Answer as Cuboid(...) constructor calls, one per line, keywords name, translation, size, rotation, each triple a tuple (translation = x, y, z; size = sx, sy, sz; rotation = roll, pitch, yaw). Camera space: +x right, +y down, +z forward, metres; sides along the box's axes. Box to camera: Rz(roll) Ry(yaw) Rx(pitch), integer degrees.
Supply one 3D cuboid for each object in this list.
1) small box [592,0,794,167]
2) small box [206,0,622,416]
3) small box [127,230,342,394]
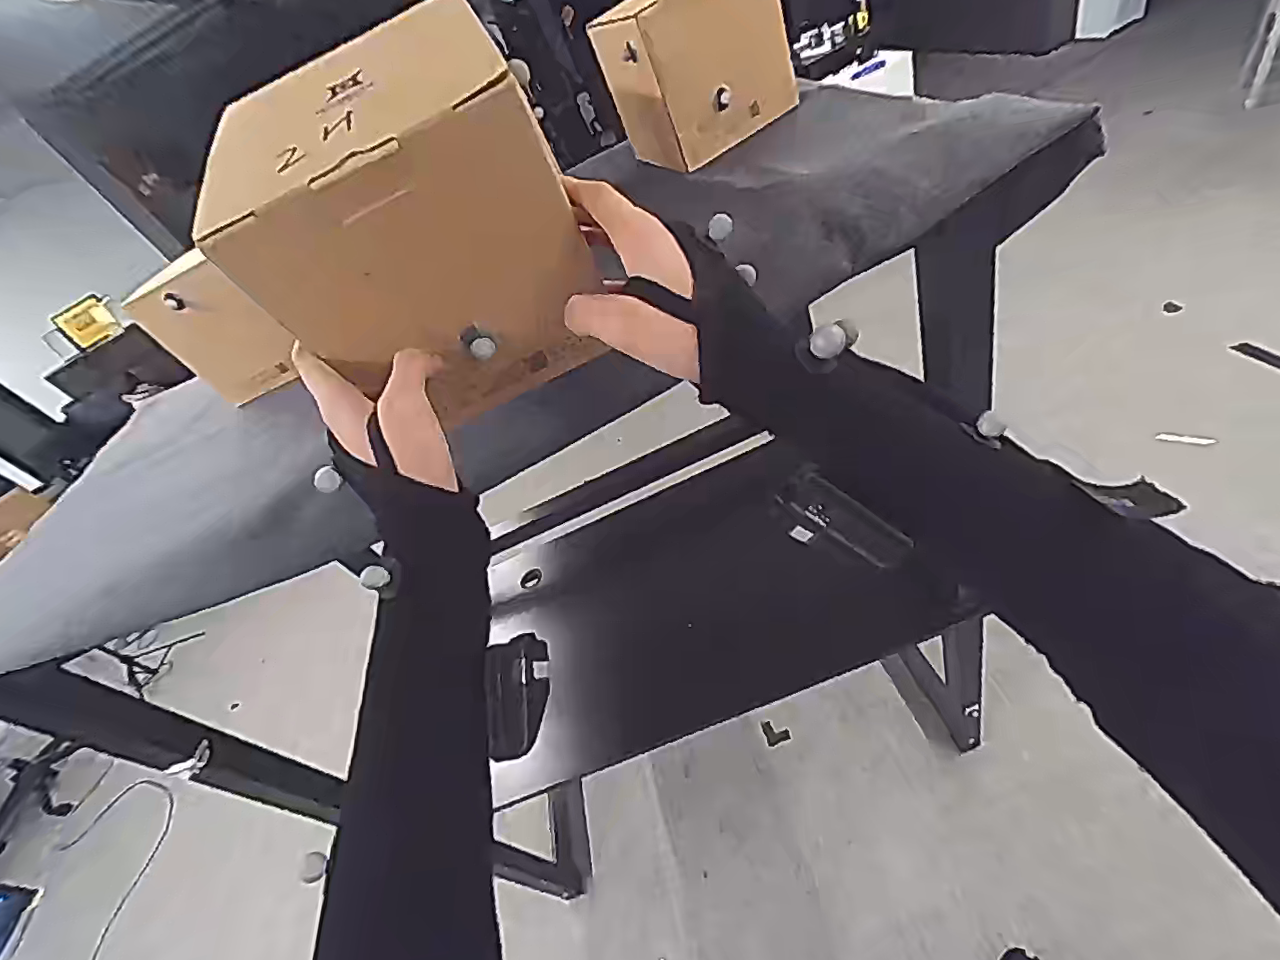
Cuboid(name="small box", translation=(0.067, -0.523, 0.680), size=(0.168, 0.176, 0.179), rotation=(-33, 42, -2))
Cuboid(name="small box", translation=(-0.131, -0.176, 0.359), size=(0.168, 0.176, 0.179), rotation=(-26, 55, 3))
Cuboid(name="small box", translation=(-0.532, -0.251, 0.759), size=(0.168, 0.176, 0.179), rotation=(-21, 41, 10))
